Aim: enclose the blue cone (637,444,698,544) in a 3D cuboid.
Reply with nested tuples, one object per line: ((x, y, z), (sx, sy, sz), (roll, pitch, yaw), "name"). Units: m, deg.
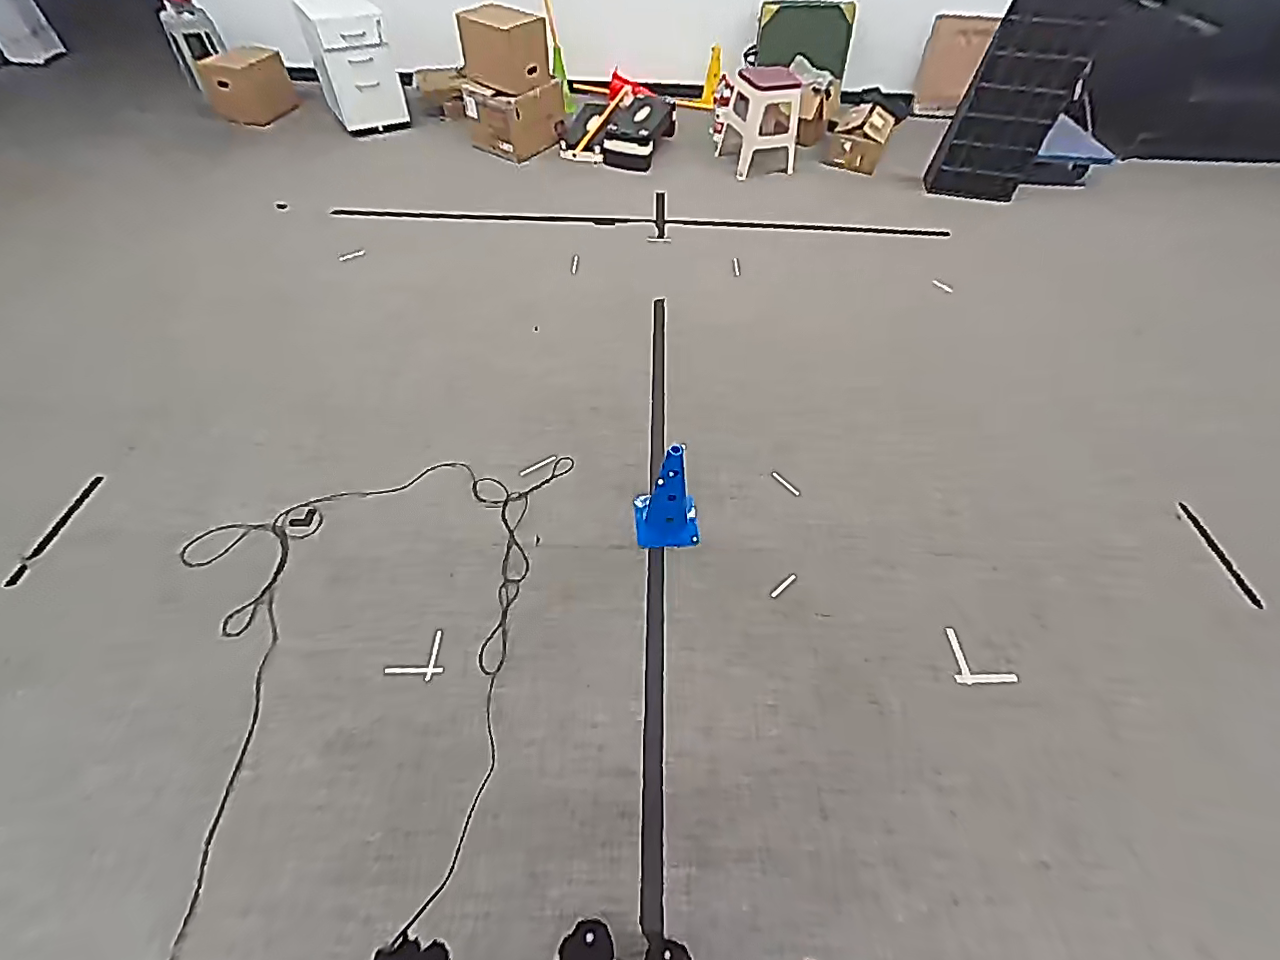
((0.096, 0.027, 1.635), (0.192, 0.380, 0.193), (0, 53, -4), "blue cone")
